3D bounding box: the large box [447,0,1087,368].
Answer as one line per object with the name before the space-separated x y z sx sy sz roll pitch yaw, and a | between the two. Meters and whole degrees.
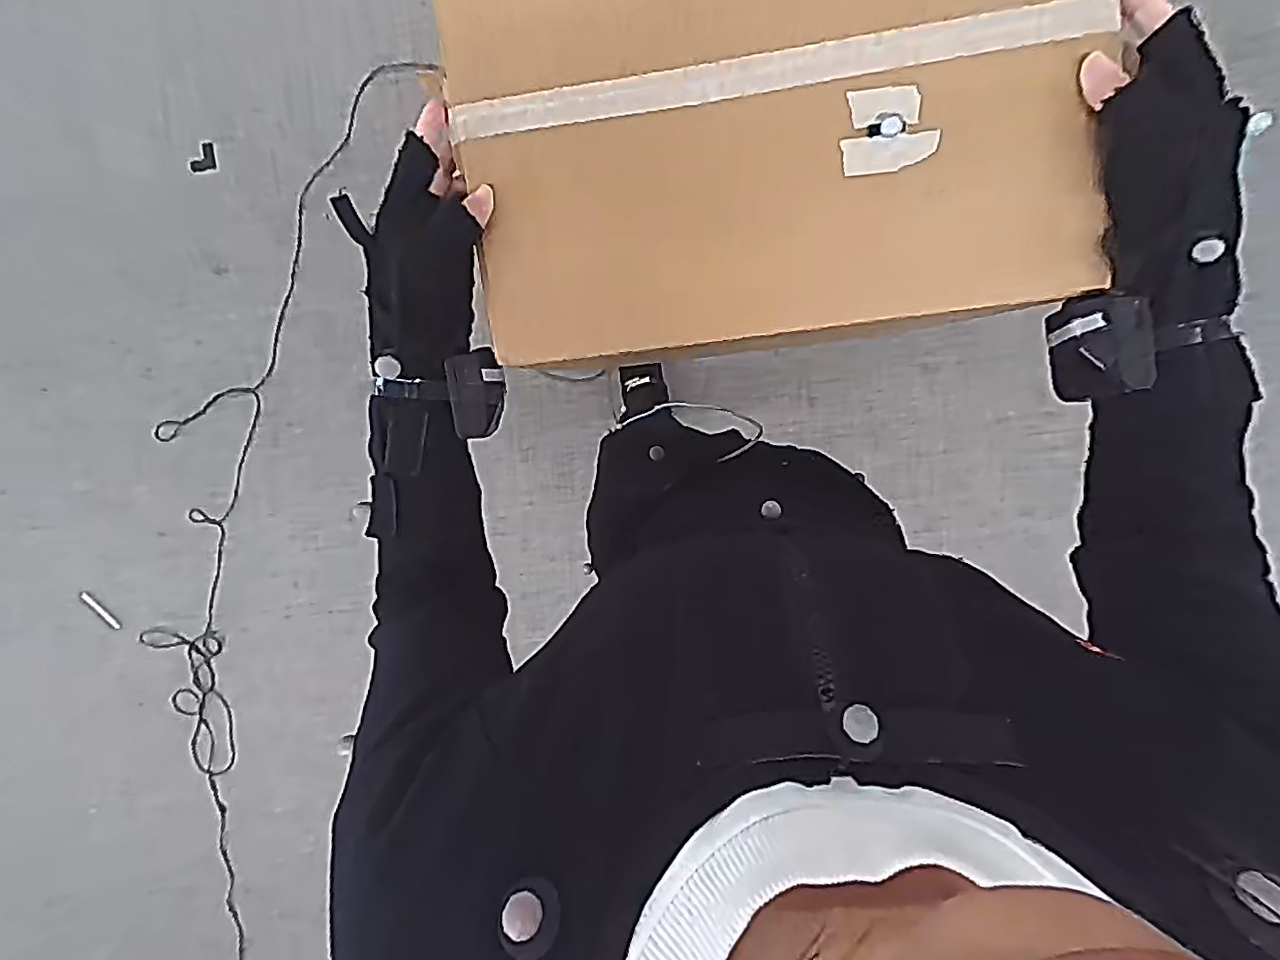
large box | 0.086 -0.288 0.497 0.408 0.320 0.320 -7 101 4
